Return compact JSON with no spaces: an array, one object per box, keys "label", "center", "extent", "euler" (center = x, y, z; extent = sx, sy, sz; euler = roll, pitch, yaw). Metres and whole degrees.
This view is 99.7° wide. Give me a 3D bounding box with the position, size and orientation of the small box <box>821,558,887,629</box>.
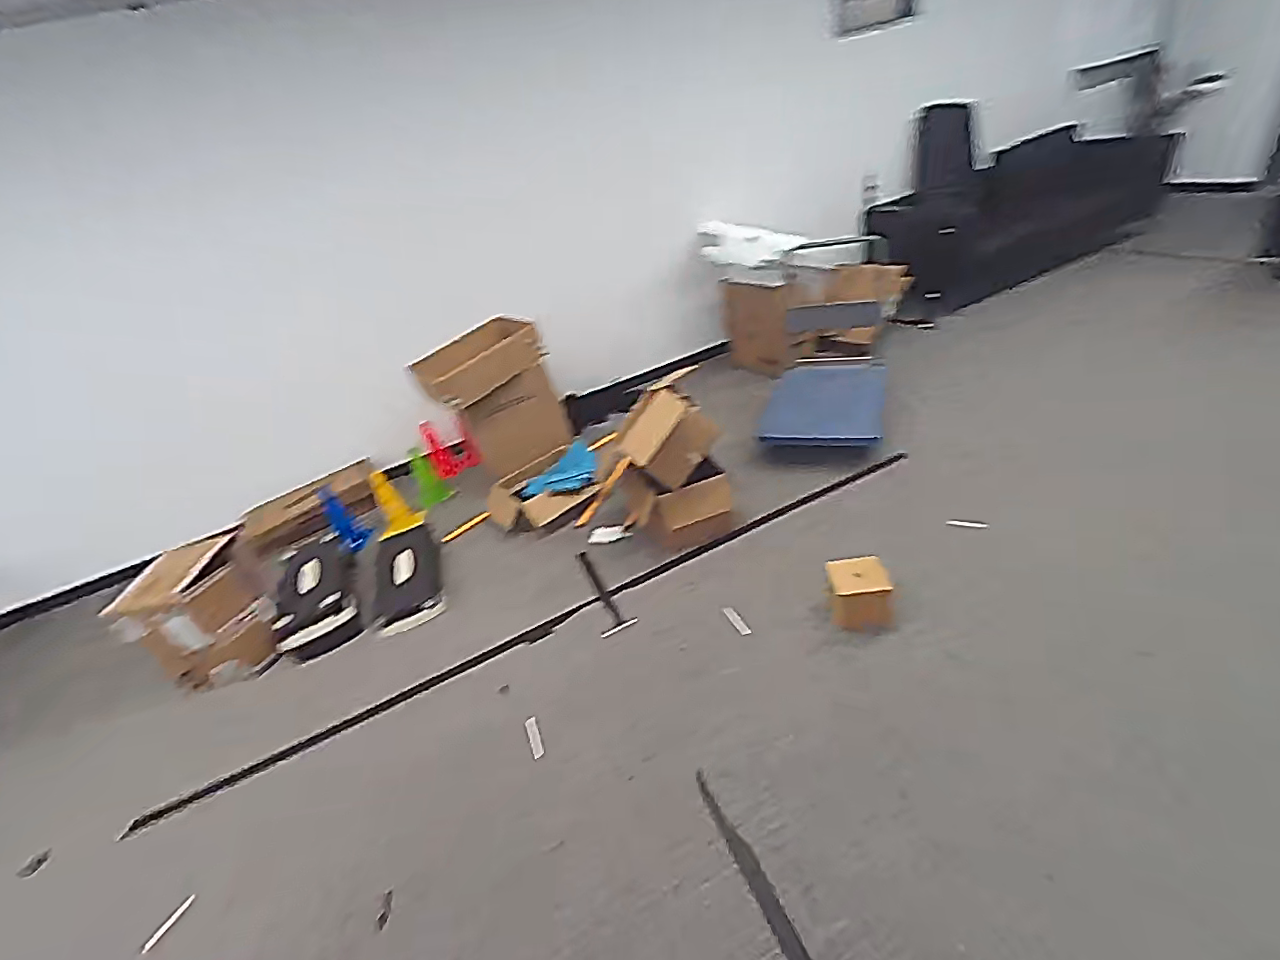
[{"label":"small box","center":[0.741,0.397,1.877],"extent":[0.179,0.176,0.168],"euler":[-10,32,7]}]
